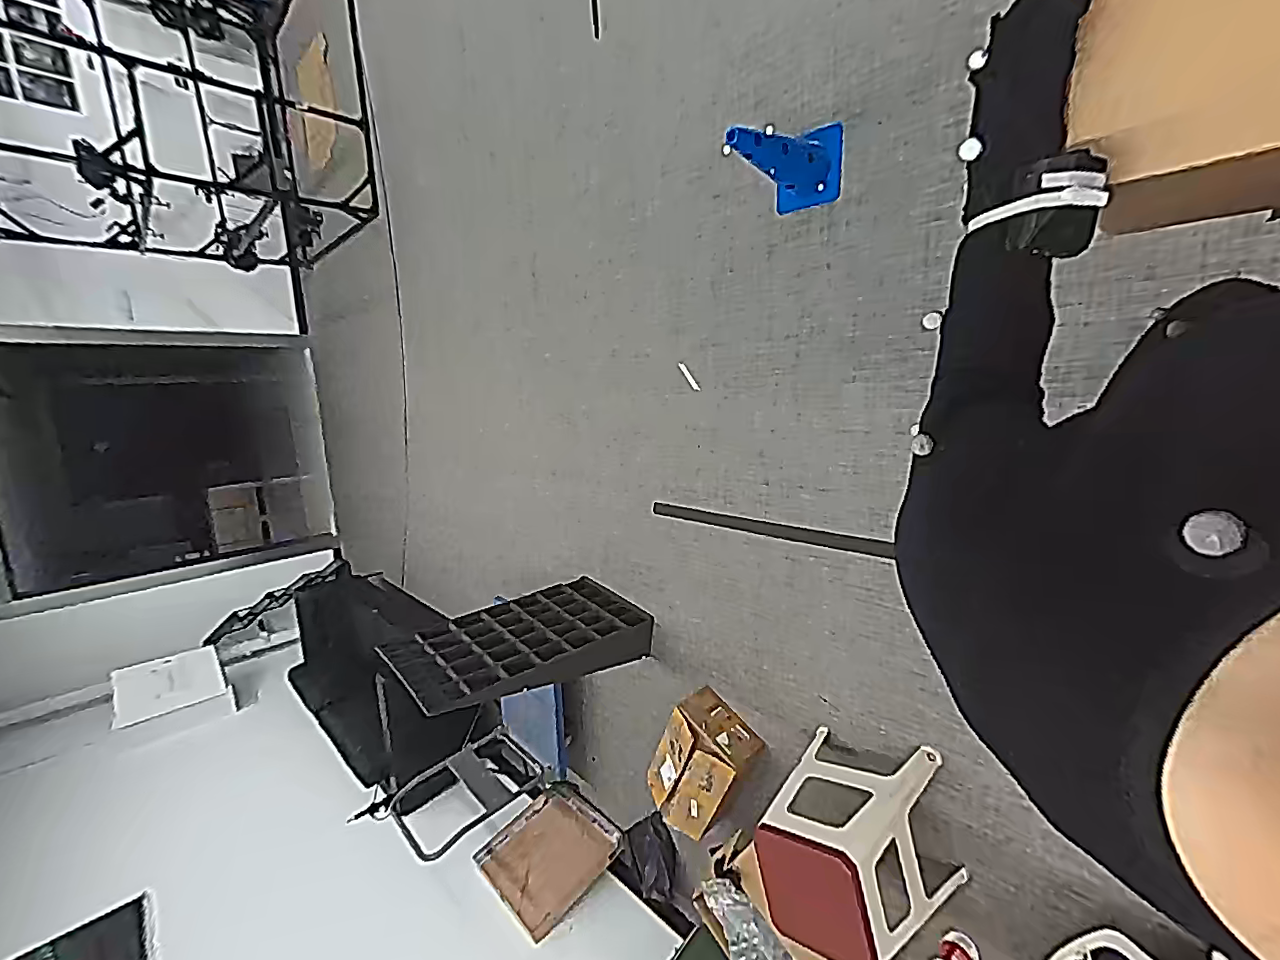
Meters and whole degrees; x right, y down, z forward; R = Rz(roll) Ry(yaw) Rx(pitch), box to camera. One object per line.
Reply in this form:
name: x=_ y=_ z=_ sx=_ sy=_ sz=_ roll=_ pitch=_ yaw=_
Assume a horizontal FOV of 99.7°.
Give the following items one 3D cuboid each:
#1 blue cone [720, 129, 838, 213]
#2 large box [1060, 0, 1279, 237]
blue cone: x=0.354 y=-0.858 z=1.438 sx=0.192 sy=0.380 sz=0.193 roll=13 pitch=108 yaw=46
large box: x=0.558 y=-0.387 z=0.360 sx=0.408 sy=0.320 sz=0.320 roll=7 pitch=106 yaw=45
